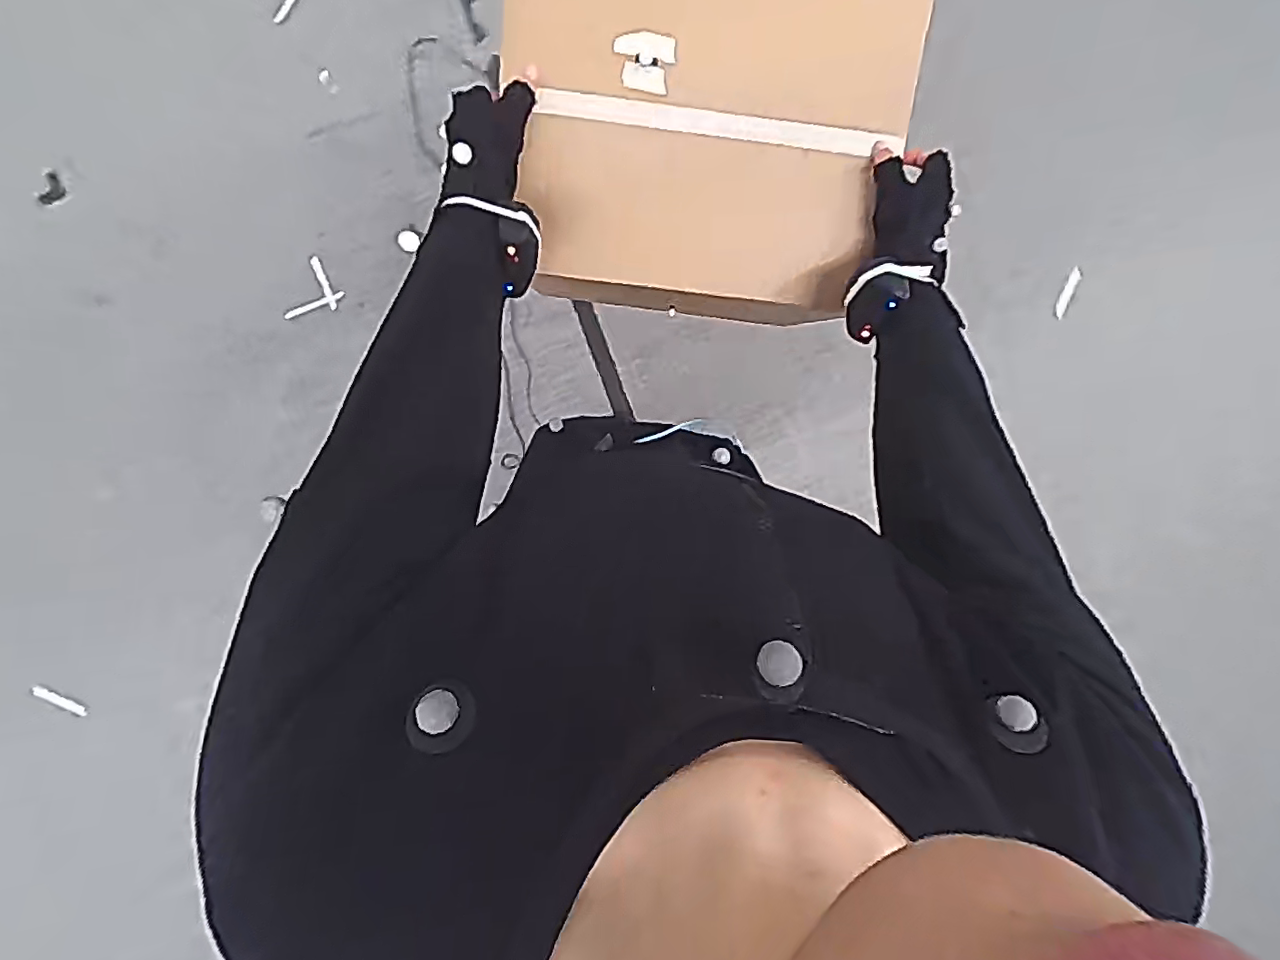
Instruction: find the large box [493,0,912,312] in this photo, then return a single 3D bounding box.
[{"bbox_3d":[0.054,-0.395,0.687,0.408,0.320,0.320,5,103,-3],"label":"large box"}]
